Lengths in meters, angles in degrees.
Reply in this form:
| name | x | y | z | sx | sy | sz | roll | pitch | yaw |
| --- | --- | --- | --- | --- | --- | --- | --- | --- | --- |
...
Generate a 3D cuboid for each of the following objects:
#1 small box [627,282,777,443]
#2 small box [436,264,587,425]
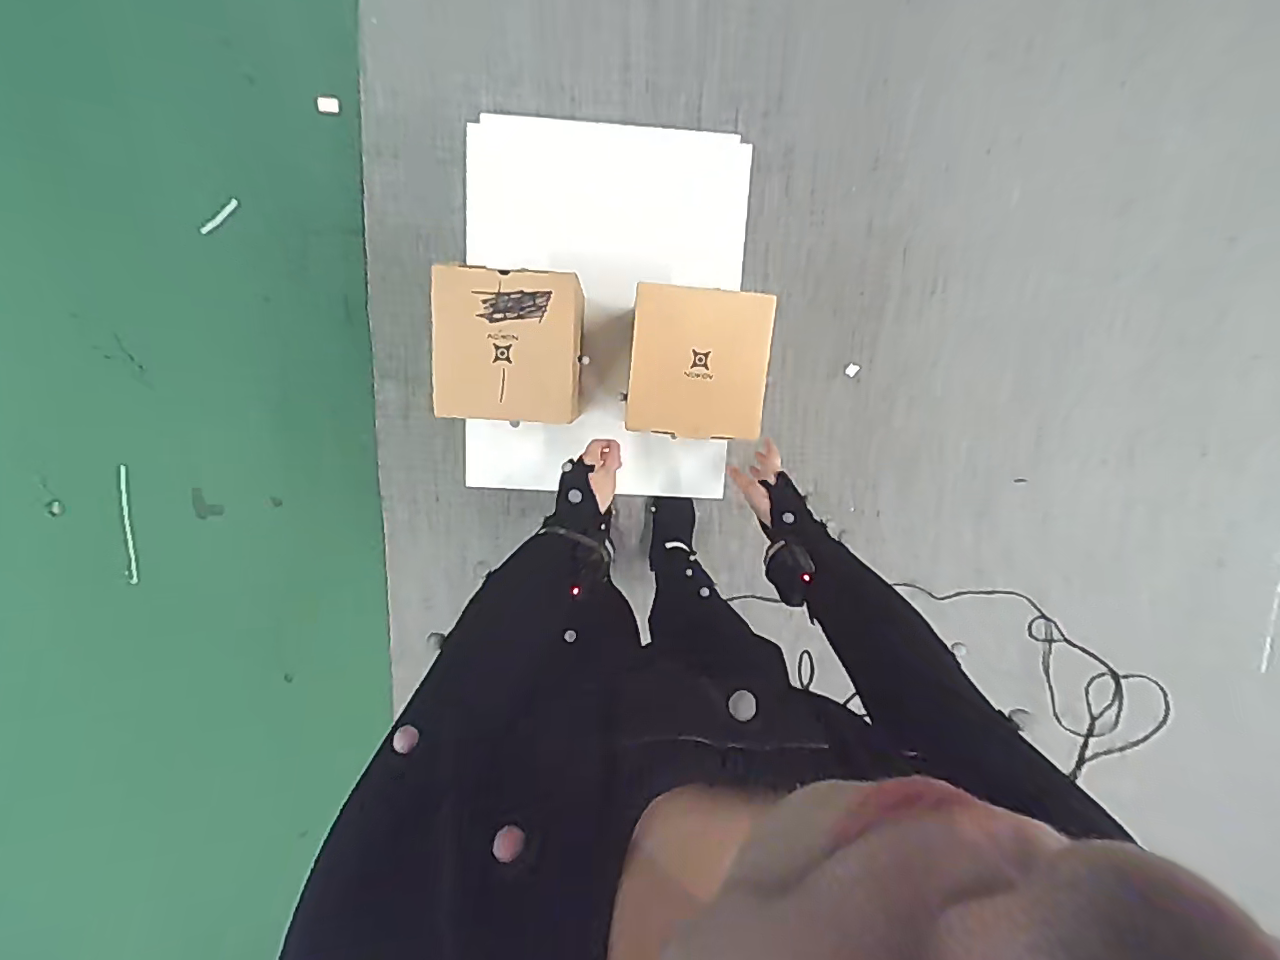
| name | x | y | z | sx | sy | sz | roll | pitch | yaw |
| --- | --- | --- | --- | --- | --- | --- | --- | --- | --- |
| small box | 0.072 | -0.150 | 0.722 | 0.168 | 0.176 | 0.179 | 5 | 99 | -1 |
| small box | -0.159 | -0.169 | 0.712 | 0.168 | 0.176 | 0.179 | 3 | 100 | -3 |
